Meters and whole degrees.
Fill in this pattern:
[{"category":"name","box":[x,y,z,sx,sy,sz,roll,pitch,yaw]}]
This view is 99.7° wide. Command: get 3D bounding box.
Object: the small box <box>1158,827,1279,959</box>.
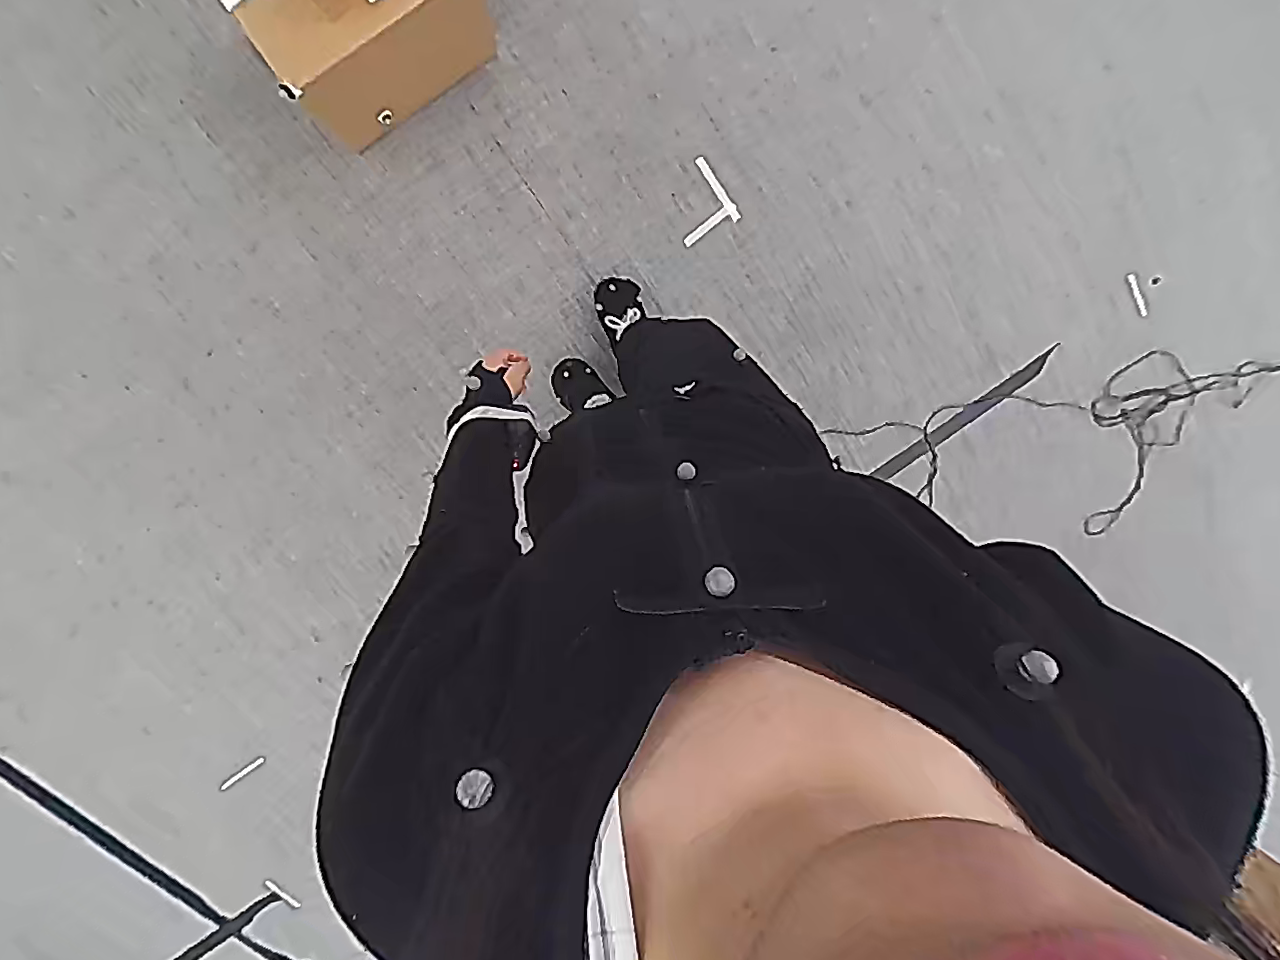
[{"category":"small box","box":[1.143,0.801,1.018,0.168,0.176,0.179,-35,106,2]}]
